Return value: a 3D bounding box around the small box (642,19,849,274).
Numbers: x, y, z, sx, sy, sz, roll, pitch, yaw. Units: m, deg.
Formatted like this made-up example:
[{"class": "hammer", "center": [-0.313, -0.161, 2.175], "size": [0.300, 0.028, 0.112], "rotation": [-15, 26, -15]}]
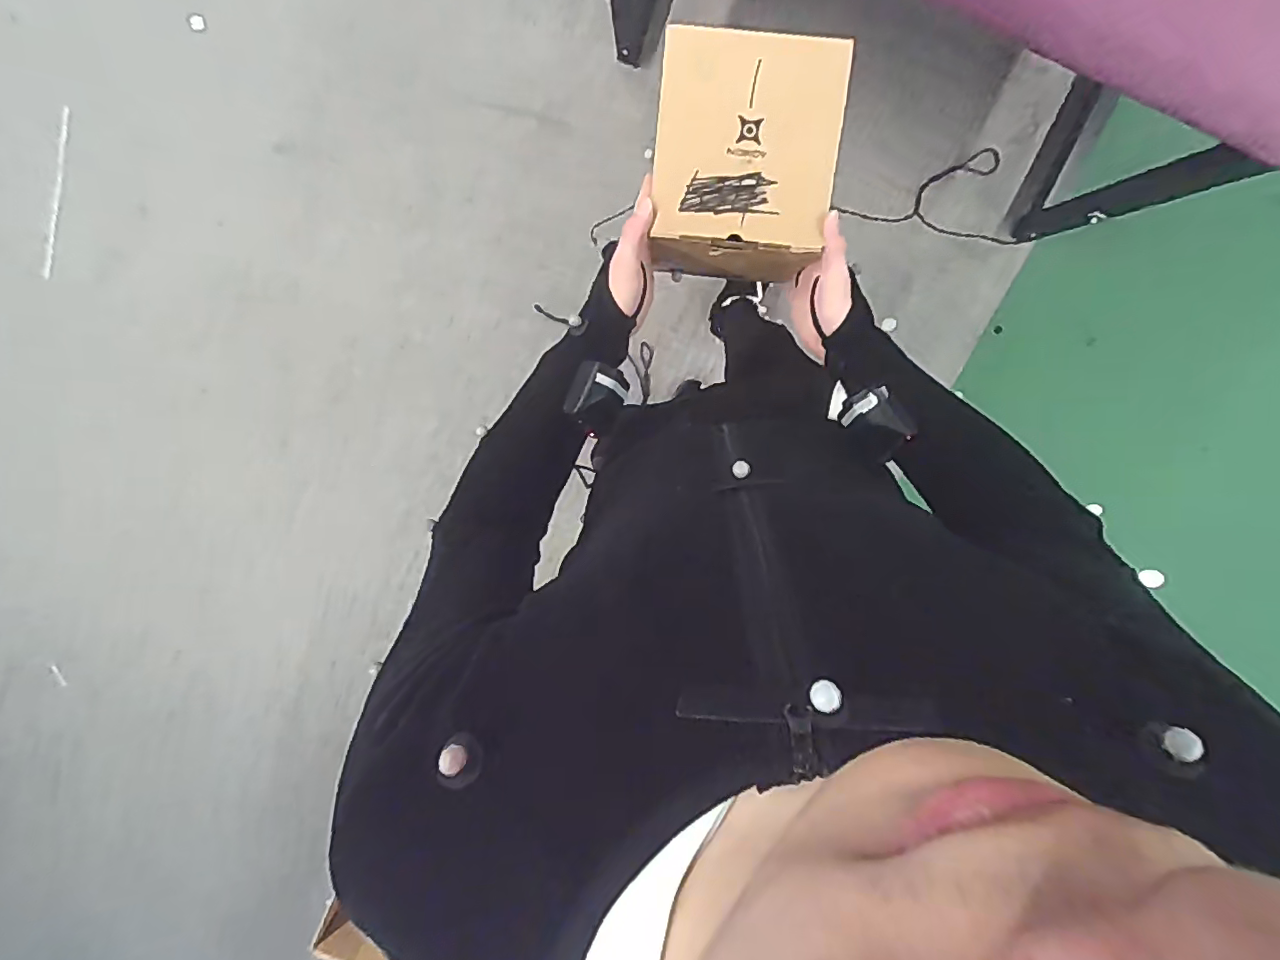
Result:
[{"class": "small box", "center": [0.096, -0.322, 0.560], "size": [0.168, 0.176, 0.179], "rotation": [5, 100, 2]}]
